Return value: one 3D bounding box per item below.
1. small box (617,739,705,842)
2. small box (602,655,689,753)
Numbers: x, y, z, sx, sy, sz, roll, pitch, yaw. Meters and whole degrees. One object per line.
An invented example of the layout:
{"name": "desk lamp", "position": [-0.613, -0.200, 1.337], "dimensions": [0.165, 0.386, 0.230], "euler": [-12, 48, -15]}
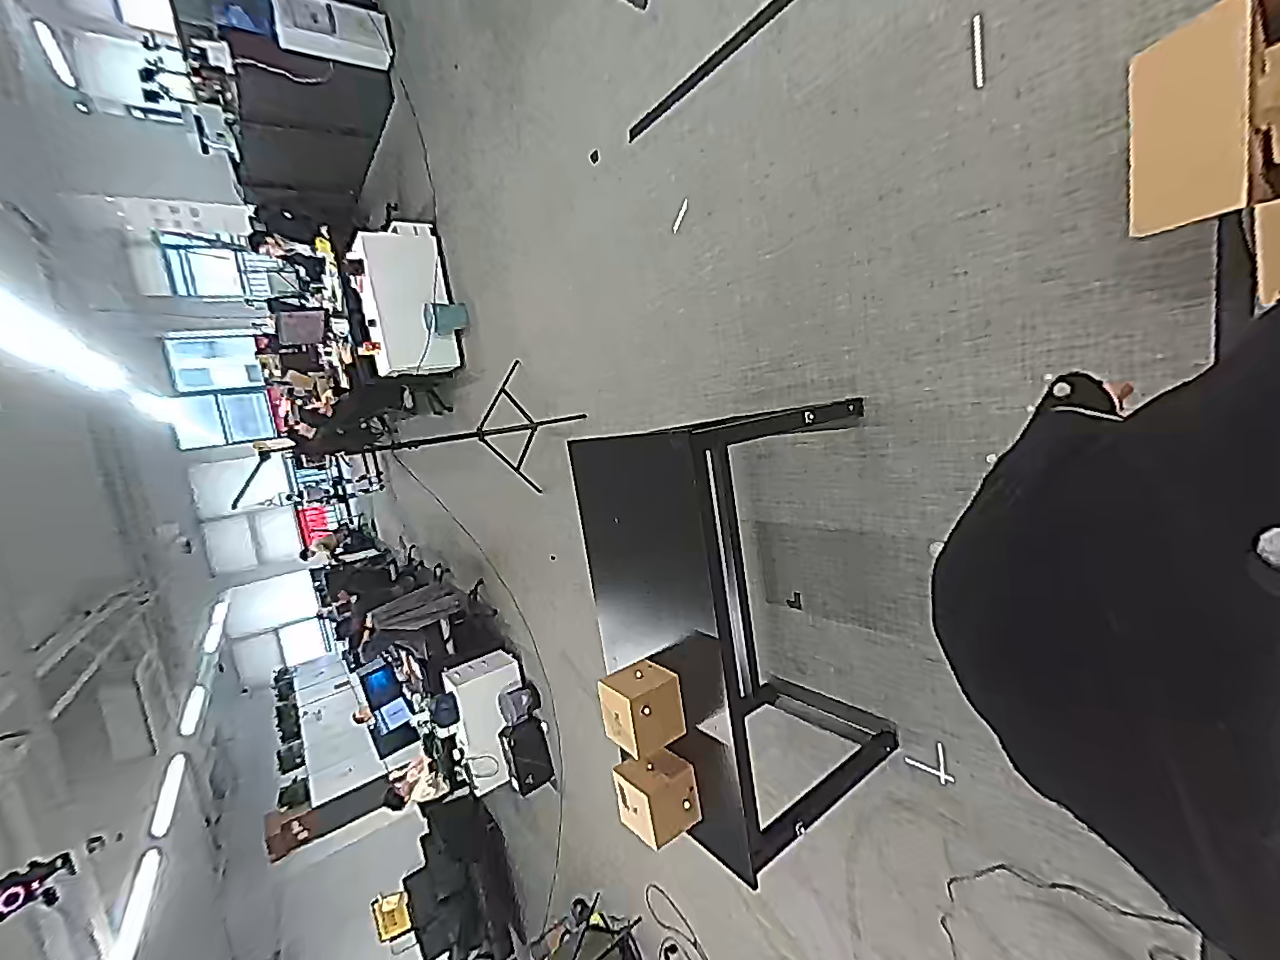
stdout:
{"name": "small box", "position": [0.061, 0.880, 1.557], "dimensions": [0.179, 0.176, 0.168], "euler": [-2, 100, 55]}
{"name": "small box", "position": [0.017, 0.619, 1.524], "dimensions": [0.168, 0.176, 0.179], "euler": [1, 102, 56]}
